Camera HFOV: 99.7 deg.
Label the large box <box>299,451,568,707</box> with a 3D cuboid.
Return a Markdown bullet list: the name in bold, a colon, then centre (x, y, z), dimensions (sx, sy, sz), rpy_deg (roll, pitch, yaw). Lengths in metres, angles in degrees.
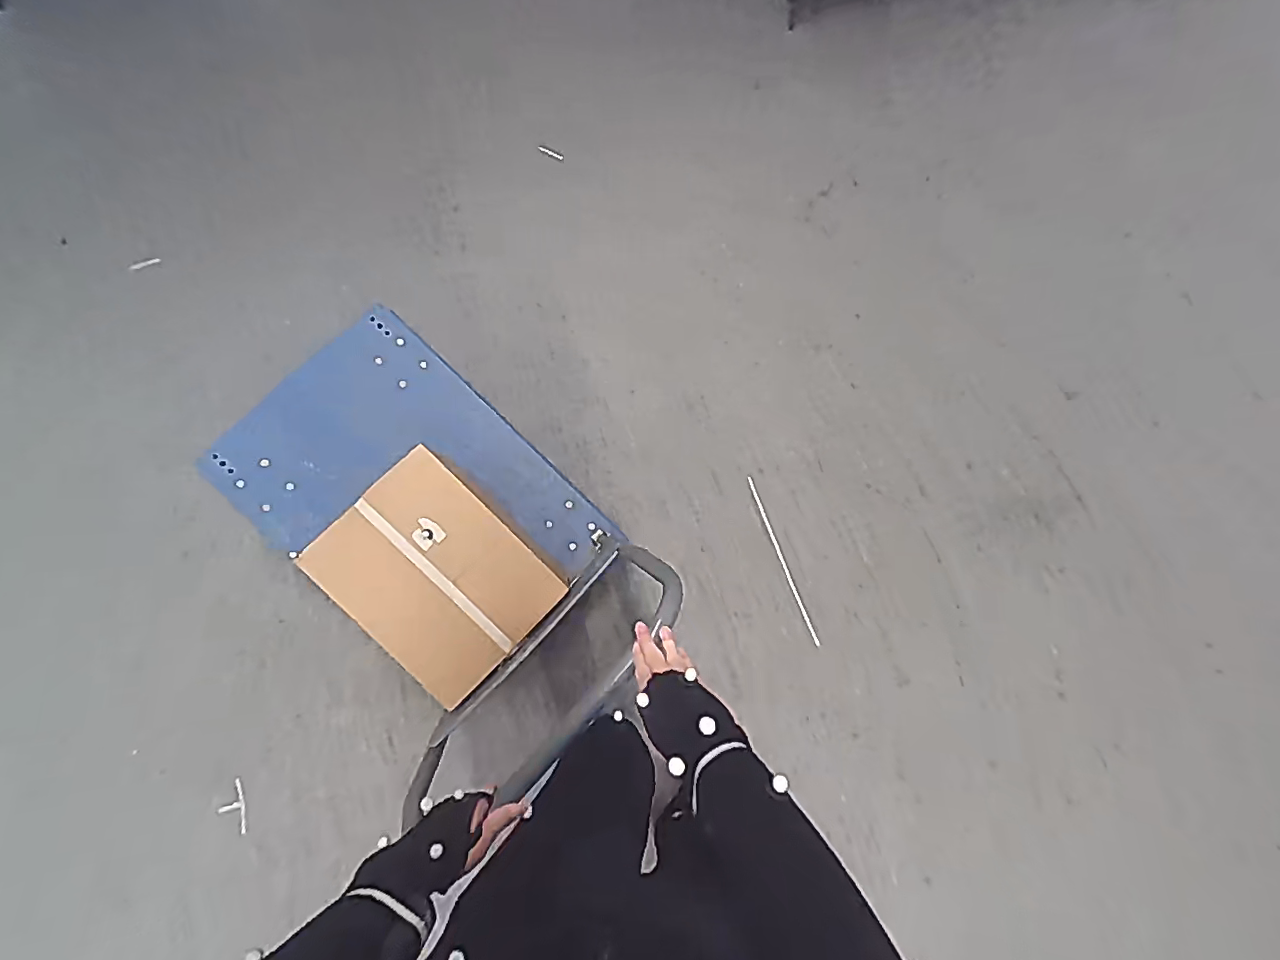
- **large box**: centre (-0.402, 0.199, 1.168), dimensions (0.408, 0.320, 0.320), rpy_deg (44, 80, -1)
